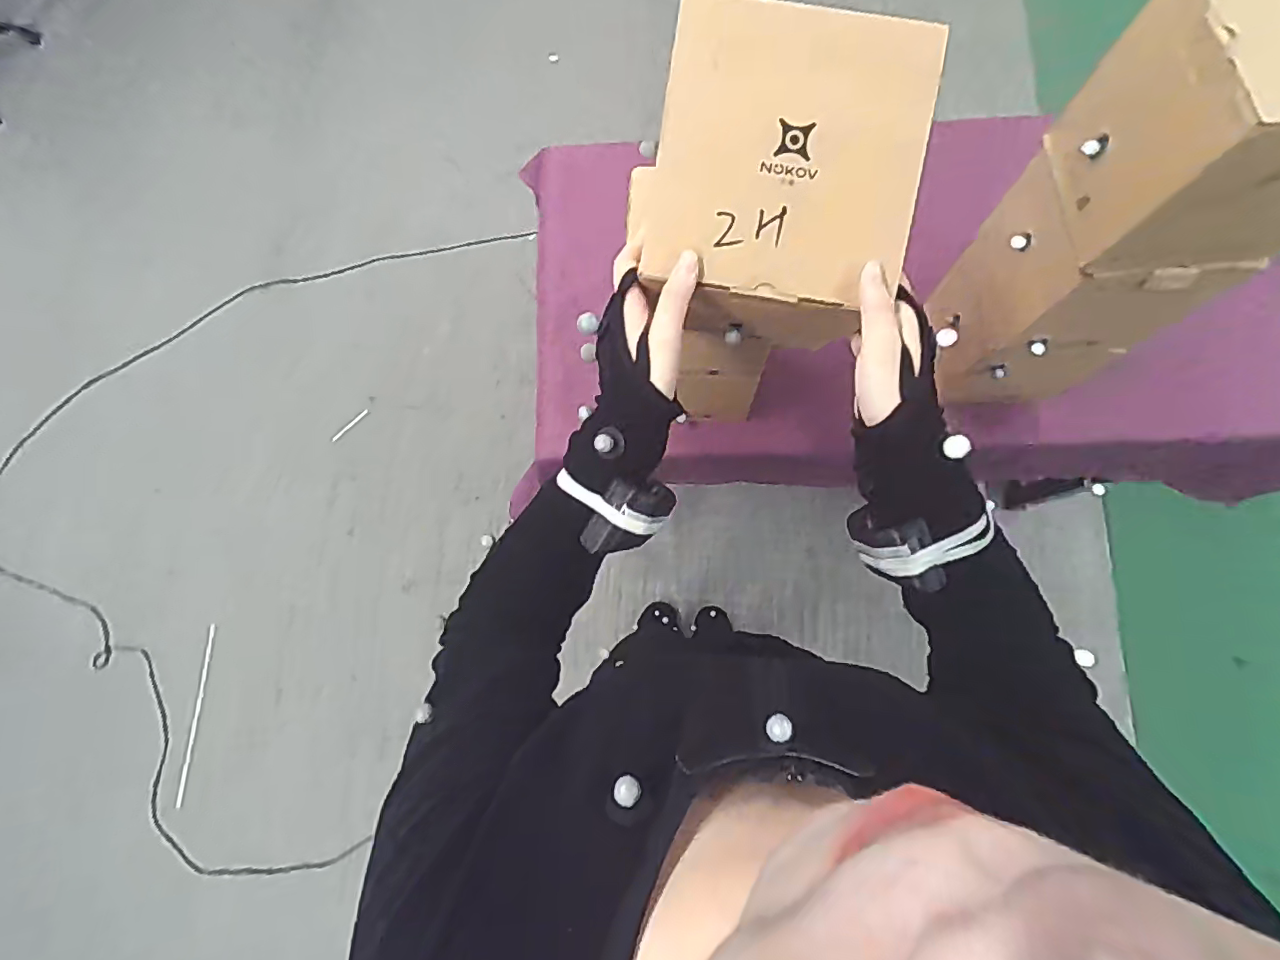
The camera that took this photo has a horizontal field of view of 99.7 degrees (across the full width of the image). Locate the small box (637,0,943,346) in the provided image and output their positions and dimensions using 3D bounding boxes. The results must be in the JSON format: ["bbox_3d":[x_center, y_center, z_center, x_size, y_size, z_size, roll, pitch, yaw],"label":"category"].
[{"bbox_3d":[0.095,-0.213,0.418,0.168,0.176,0.179,10,97,2],"label":"small box"}]

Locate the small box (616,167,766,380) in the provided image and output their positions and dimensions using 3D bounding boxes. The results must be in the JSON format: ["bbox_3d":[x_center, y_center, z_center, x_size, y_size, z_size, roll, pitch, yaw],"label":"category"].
[{"bbox_3d":[0.069,-0.238,0.645,0.168,0.176,0.179,3,76,7],"label":"small box"}]

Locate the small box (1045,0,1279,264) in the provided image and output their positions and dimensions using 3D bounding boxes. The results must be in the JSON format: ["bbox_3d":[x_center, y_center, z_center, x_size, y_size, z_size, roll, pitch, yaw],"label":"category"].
[{"bbox_3d":[0.503,-0.310,0.463,0.179,0.176,0.168,-4,76,4],"label":"small box"}]

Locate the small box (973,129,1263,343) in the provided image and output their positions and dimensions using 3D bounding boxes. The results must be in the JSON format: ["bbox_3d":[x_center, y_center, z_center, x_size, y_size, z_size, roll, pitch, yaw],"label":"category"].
[{"bbox_3d":[0.519,-0.269,0.619,0.168,0.176,0.179,-2,75,3],"label":"small box"}]

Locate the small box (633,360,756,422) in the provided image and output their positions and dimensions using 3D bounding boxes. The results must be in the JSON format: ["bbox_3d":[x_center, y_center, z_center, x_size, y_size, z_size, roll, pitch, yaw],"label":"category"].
[{"bbox_3d":[0.083,-0.199,0.806,0.168,0.176,0.179,3,77,5],"label":"small box"}]
